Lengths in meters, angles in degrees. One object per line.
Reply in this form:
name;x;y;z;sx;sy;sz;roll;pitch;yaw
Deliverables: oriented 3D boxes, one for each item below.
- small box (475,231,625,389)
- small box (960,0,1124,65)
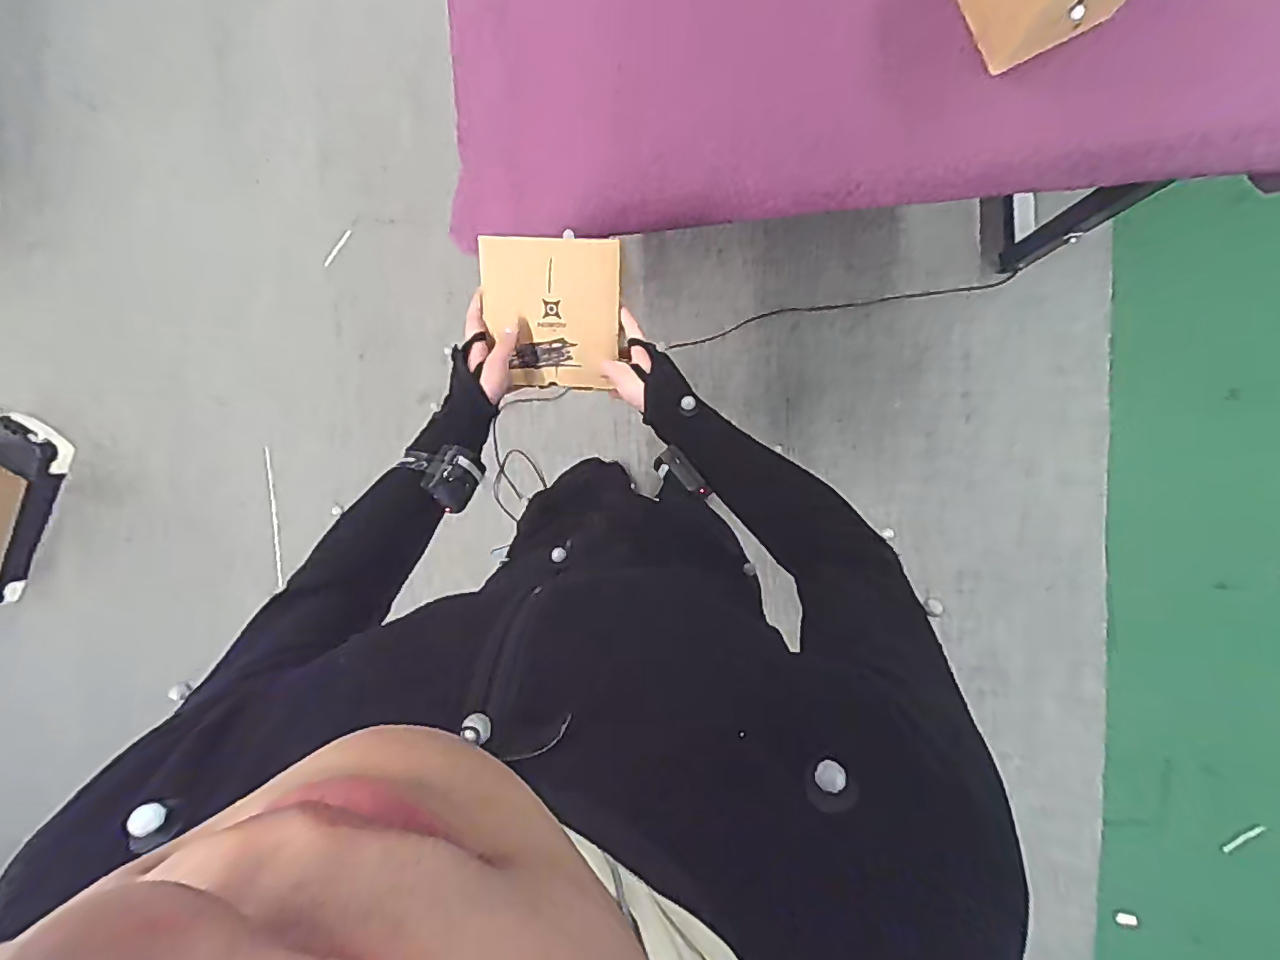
small box;-0.107;-0.226;0.716;0.168;0.176;0.179;2;110;0
small box;0.529;-0.675;0.678;0.168;0.176;0.179;-23;91;10
